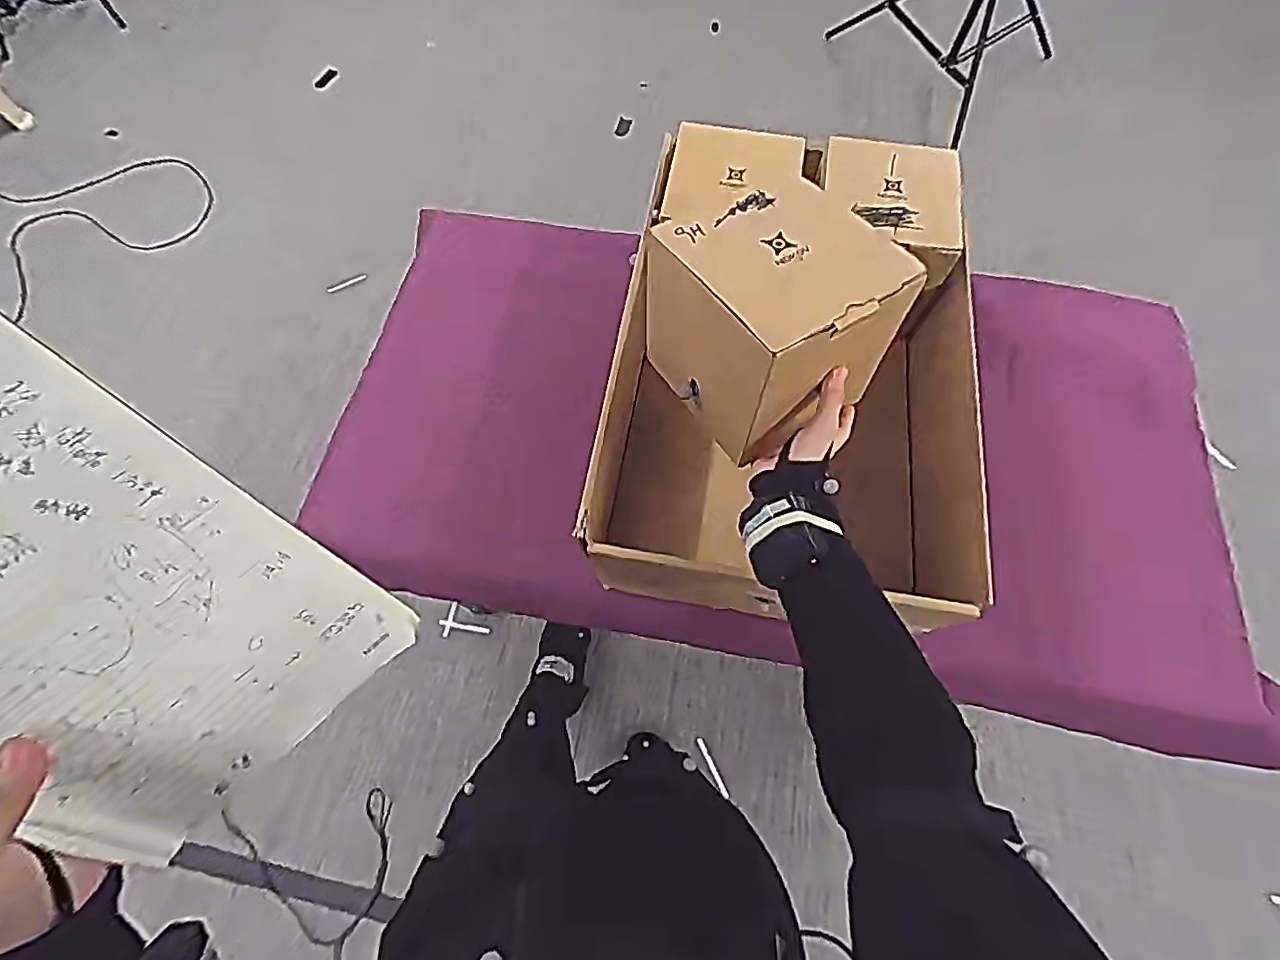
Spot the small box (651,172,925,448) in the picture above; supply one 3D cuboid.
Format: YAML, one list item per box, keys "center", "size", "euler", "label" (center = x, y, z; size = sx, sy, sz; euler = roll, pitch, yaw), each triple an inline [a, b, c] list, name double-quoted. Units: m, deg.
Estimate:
- center: [0.124, -0.154, 0.530]
  size: [0.168, 0.176, 0.179]
  euler: [-28, 66, -16]
  label: "small box"
